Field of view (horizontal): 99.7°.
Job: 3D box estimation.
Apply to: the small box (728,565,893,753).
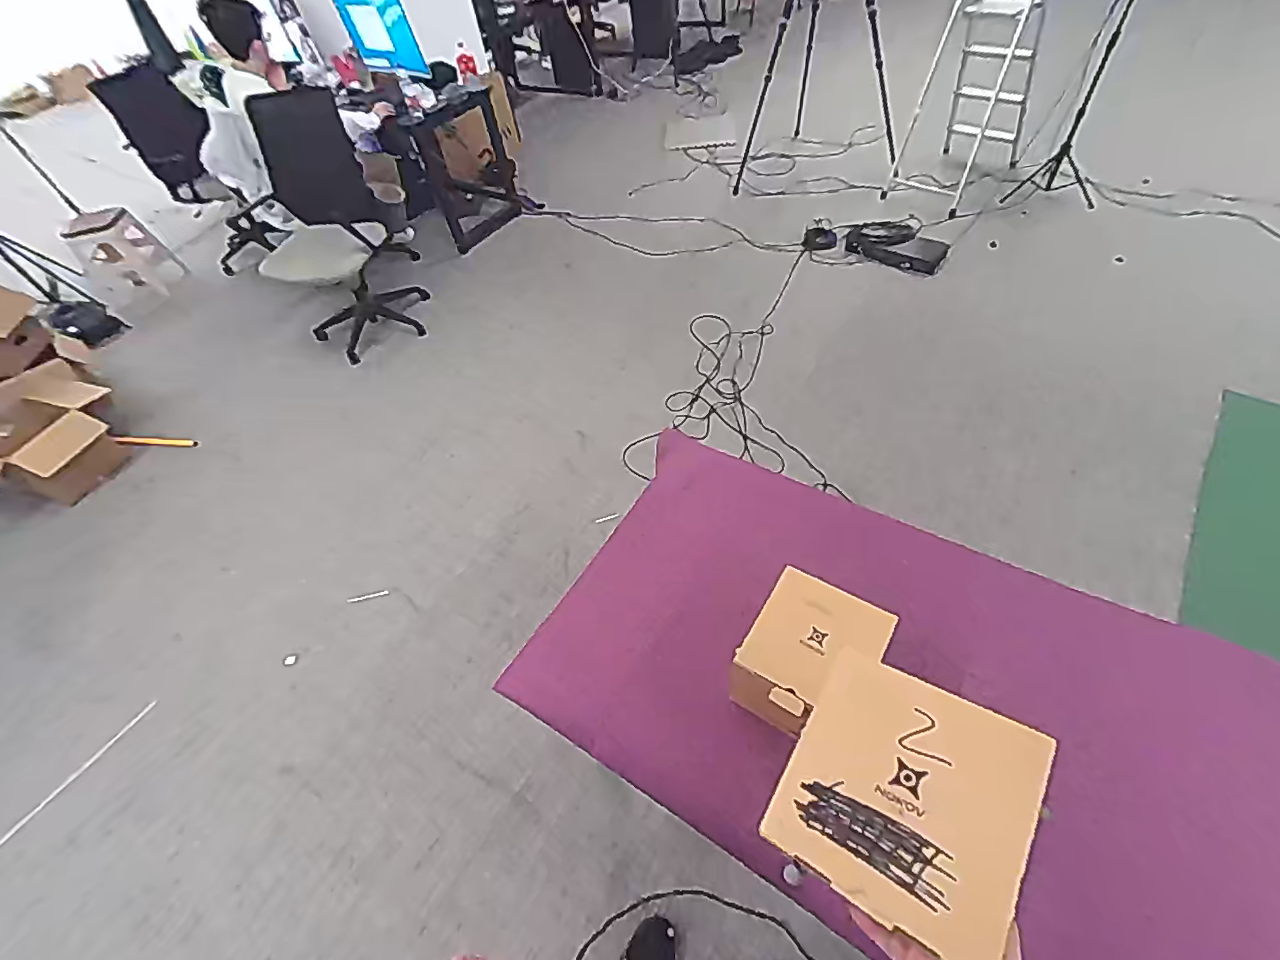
[{"bbox_3d":[0.244,0.267,0.798,0.168,0.176,0.179,26,58,25],"label":"small box"}]
